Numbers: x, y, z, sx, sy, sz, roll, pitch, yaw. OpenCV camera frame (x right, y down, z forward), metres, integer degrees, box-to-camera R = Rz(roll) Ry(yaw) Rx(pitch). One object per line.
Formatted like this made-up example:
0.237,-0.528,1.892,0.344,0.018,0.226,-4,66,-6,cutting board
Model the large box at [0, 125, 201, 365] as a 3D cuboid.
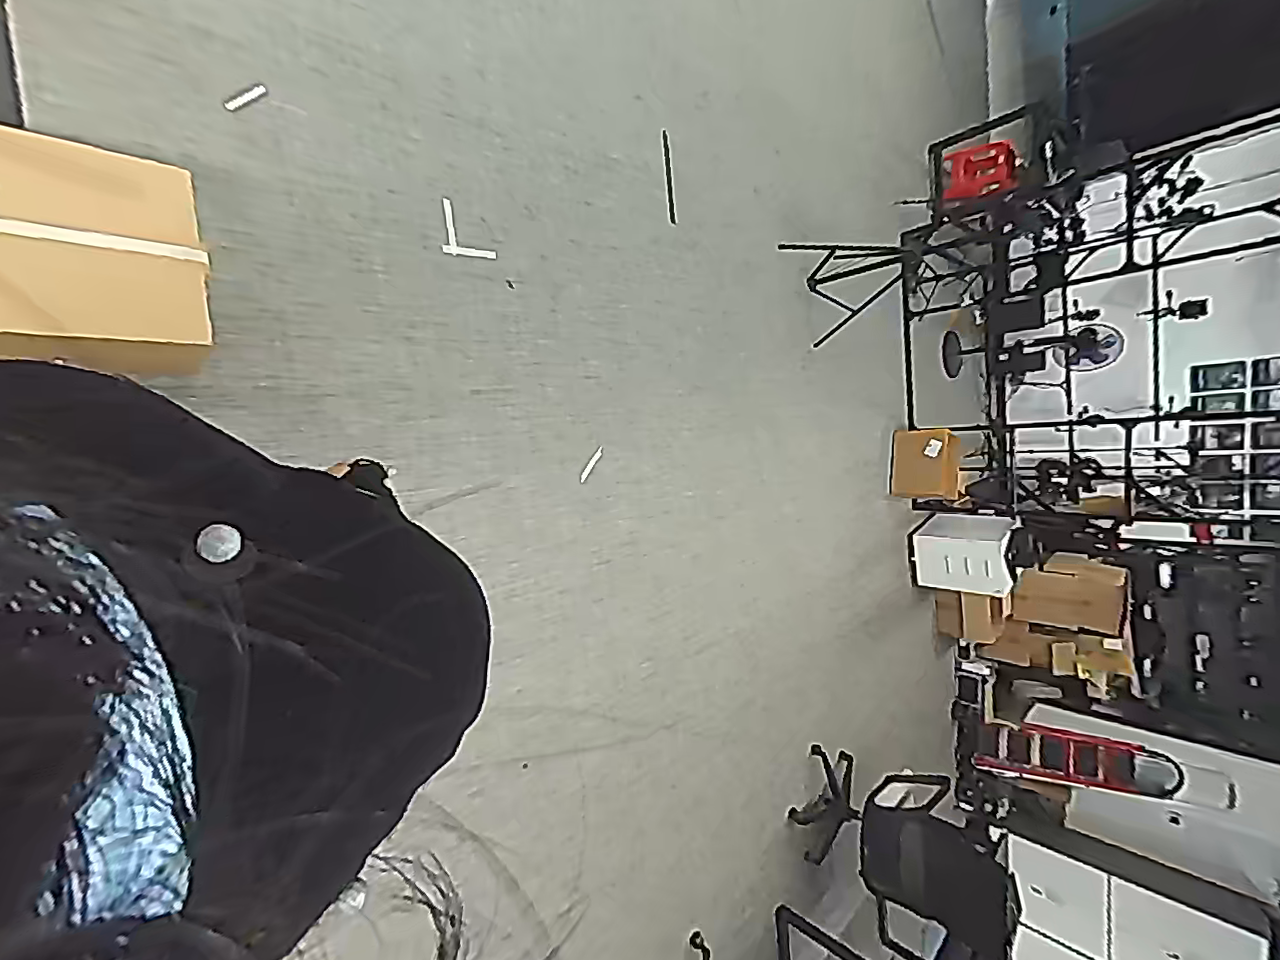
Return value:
-1.046,-0.379,0.929,0.408,0.320,0.320,-9,93,-44,large box
